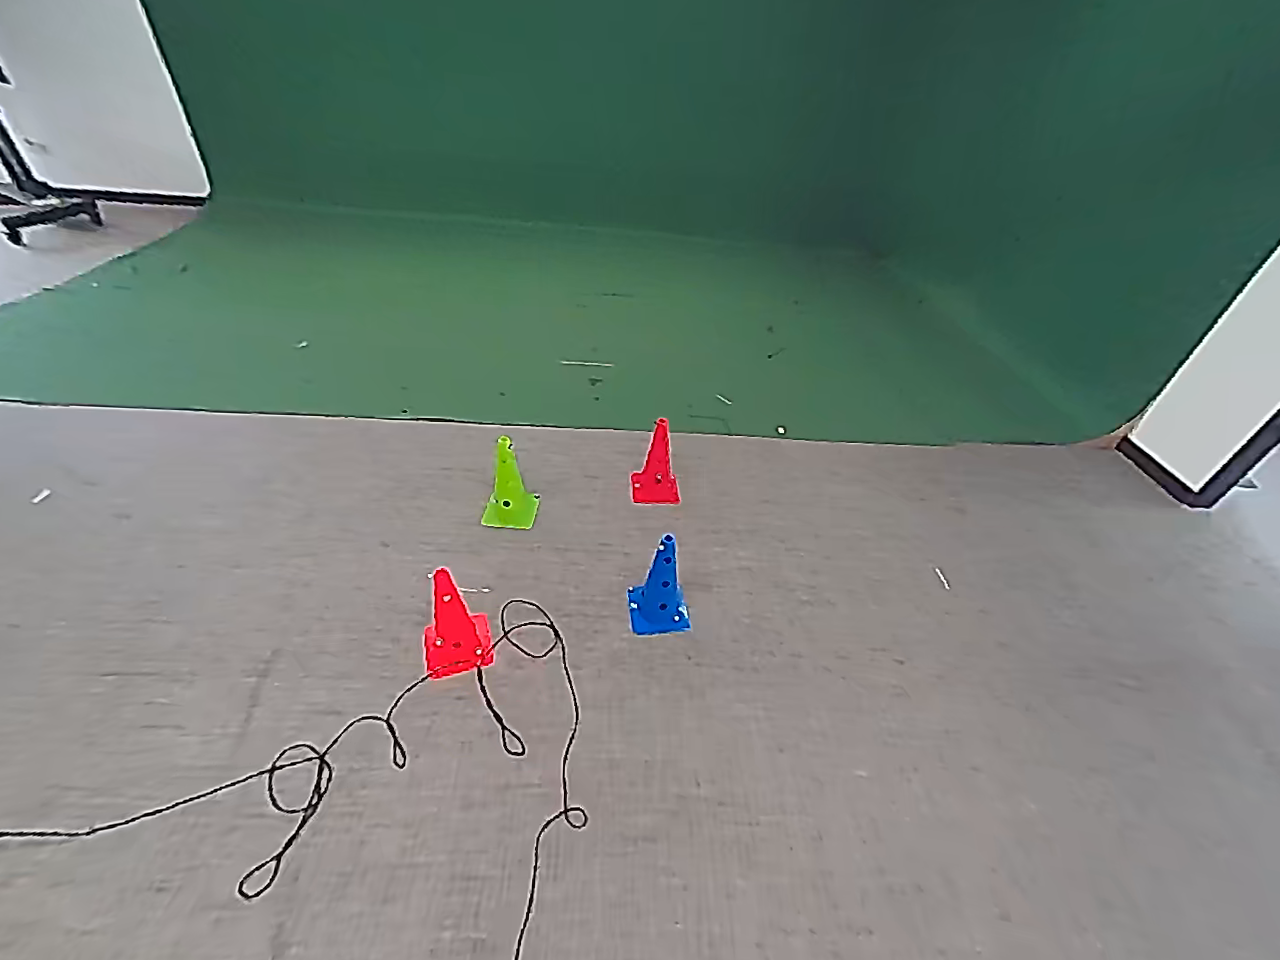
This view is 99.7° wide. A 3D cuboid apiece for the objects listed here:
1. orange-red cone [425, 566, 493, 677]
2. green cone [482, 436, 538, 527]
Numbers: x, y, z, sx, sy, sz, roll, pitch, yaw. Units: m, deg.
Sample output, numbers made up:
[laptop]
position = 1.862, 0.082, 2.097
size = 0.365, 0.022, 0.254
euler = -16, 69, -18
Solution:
[orange-red cone]
position = -0.557, 0.385, 1.595
size = 0.198, 0.360, 0.199
euler = -9, 41, -19
[green cone]
position = -0.510, -0.016, 2.068
size = 0.200, 0.368, 0.202
euler = 4, 41, -2
